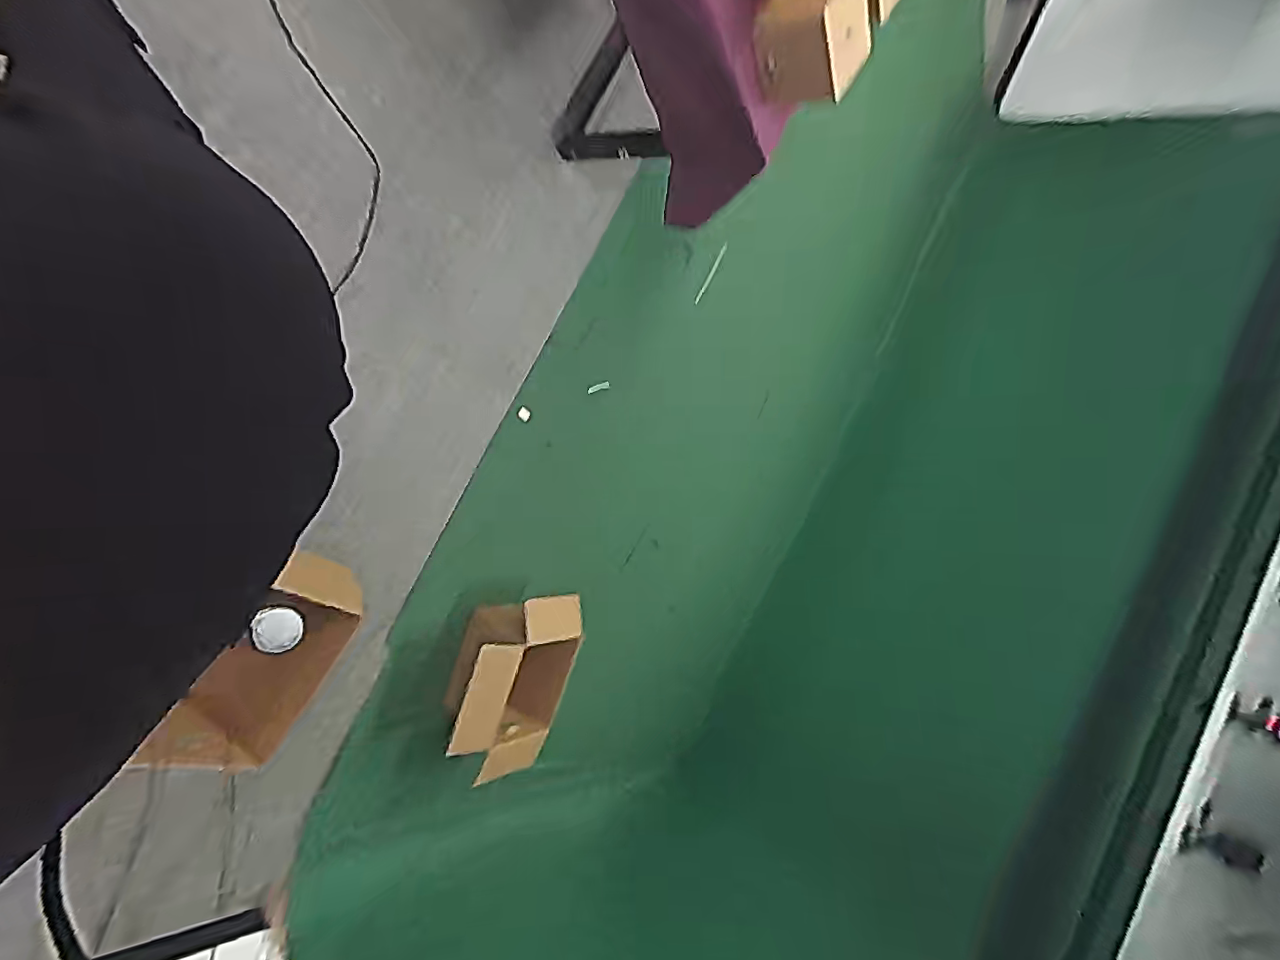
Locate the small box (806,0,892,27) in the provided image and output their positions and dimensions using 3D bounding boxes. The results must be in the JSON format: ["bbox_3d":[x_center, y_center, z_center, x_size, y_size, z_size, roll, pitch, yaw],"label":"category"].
[{"bbox_3d":[0.464,-1.124,1.159,0.179,0.176,0.168,-59,144,-10],"label":"small box"}]
